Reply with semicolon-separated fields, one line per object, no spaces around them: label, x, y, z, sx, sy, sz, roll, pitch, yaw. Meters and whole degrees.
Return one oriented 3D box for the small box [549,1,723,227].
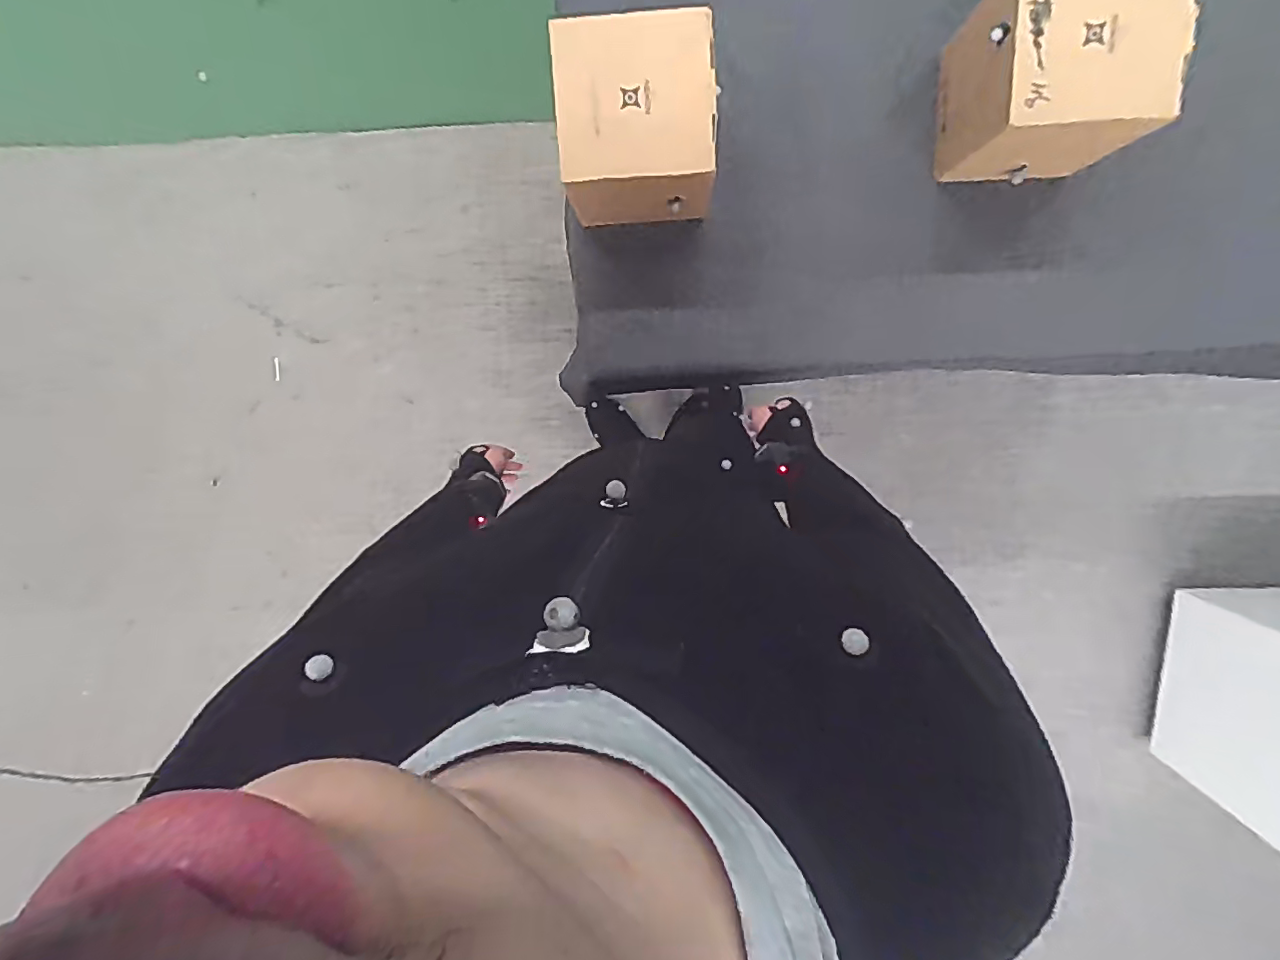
small box;-0.003;-0.419;0.649;0.179;0.176;0.168;-4;98;2

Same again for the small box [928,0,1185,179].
small box;0.475;-0.476;0.640;0.179;0.176;0.168;-3;100;0
